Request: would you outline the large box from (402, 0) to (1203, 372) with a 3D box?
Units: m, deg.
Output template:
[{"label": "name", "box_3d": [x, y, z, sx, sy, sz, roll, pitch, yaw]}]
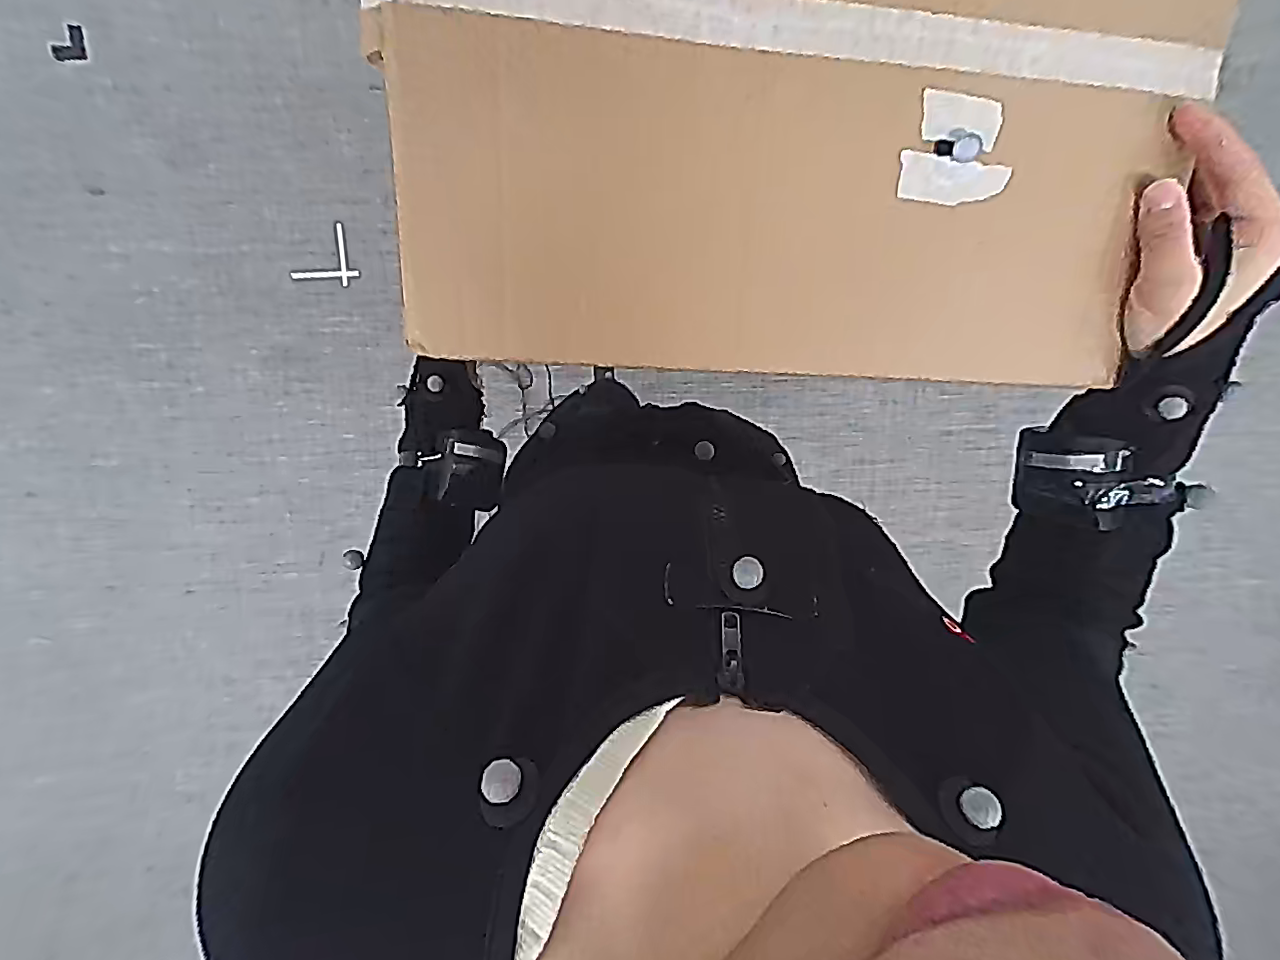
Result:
[{"label": "large box", "box_3d": [0.069, -0.254, 0.405, 0.408, 0.320, 0.320, 0, 107, -8]}]
